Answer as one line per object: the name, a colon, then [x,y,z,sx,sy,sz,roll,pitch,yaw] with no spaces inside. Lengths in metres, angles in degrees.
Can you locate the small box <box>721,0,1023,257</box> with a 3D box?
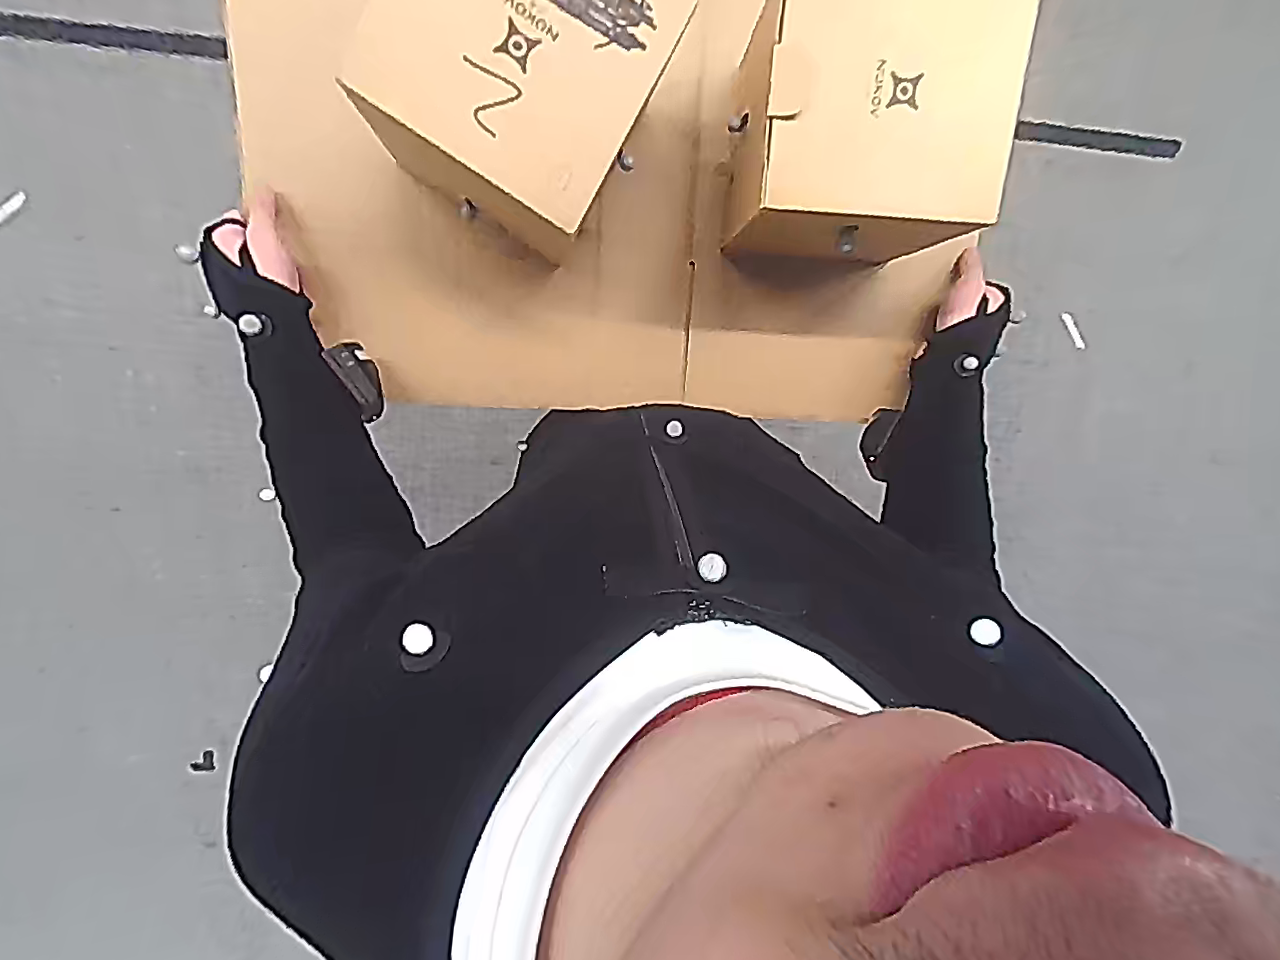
small box: [0.177,-0.297,0.470,0.179,0.176,0.168,3,103,-2]
